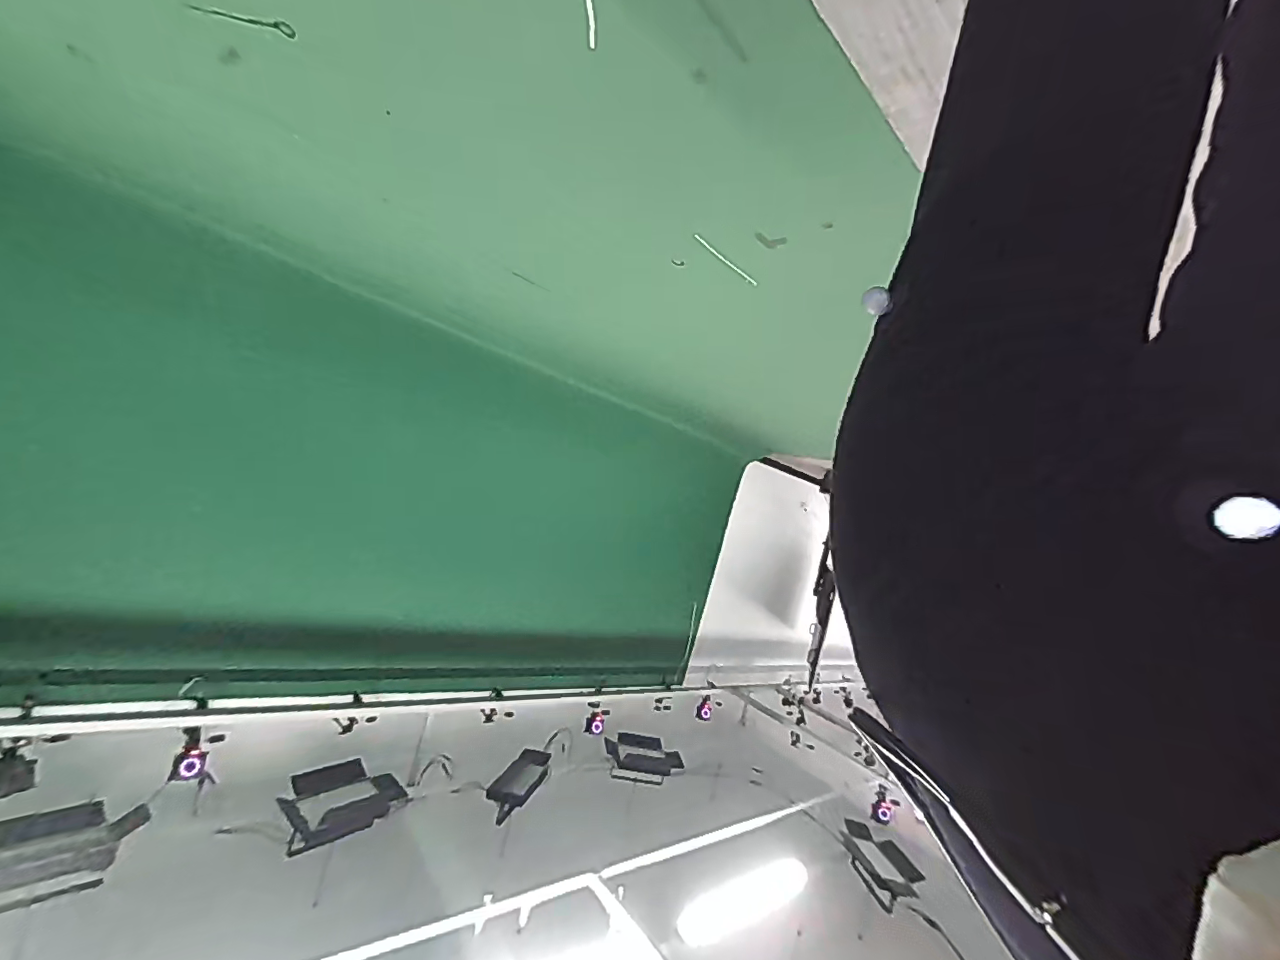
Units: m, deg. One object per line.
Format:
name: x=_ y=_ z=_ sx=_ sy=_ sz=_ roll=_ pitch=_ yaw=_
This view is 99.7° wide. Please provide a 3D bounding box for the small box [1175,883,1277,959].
small box: x=1.692 y=1.324 z=1.560 sx=0.168 sy=0.176 sz=0.179 roll=17 pitch=179 yaw=-40
